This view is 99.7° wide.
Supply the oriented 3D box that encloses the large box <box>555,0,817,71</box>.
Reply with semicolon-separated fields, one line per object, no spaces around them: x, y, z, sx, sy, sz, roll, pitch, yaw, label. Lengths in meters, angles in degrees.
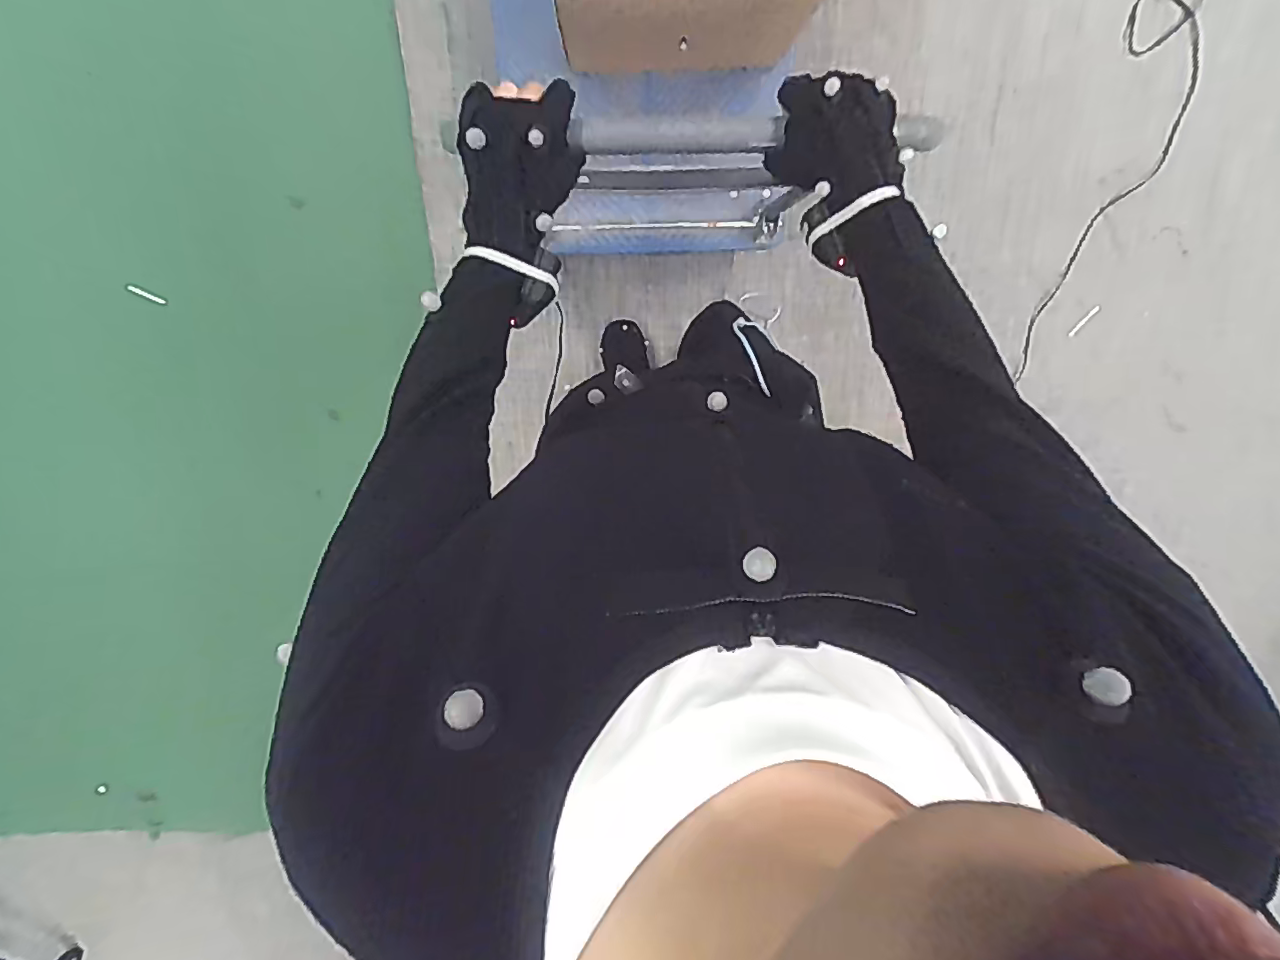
0.066;-0.895;0.863;0.408;0.320;0.320;-3;110;0;large box
